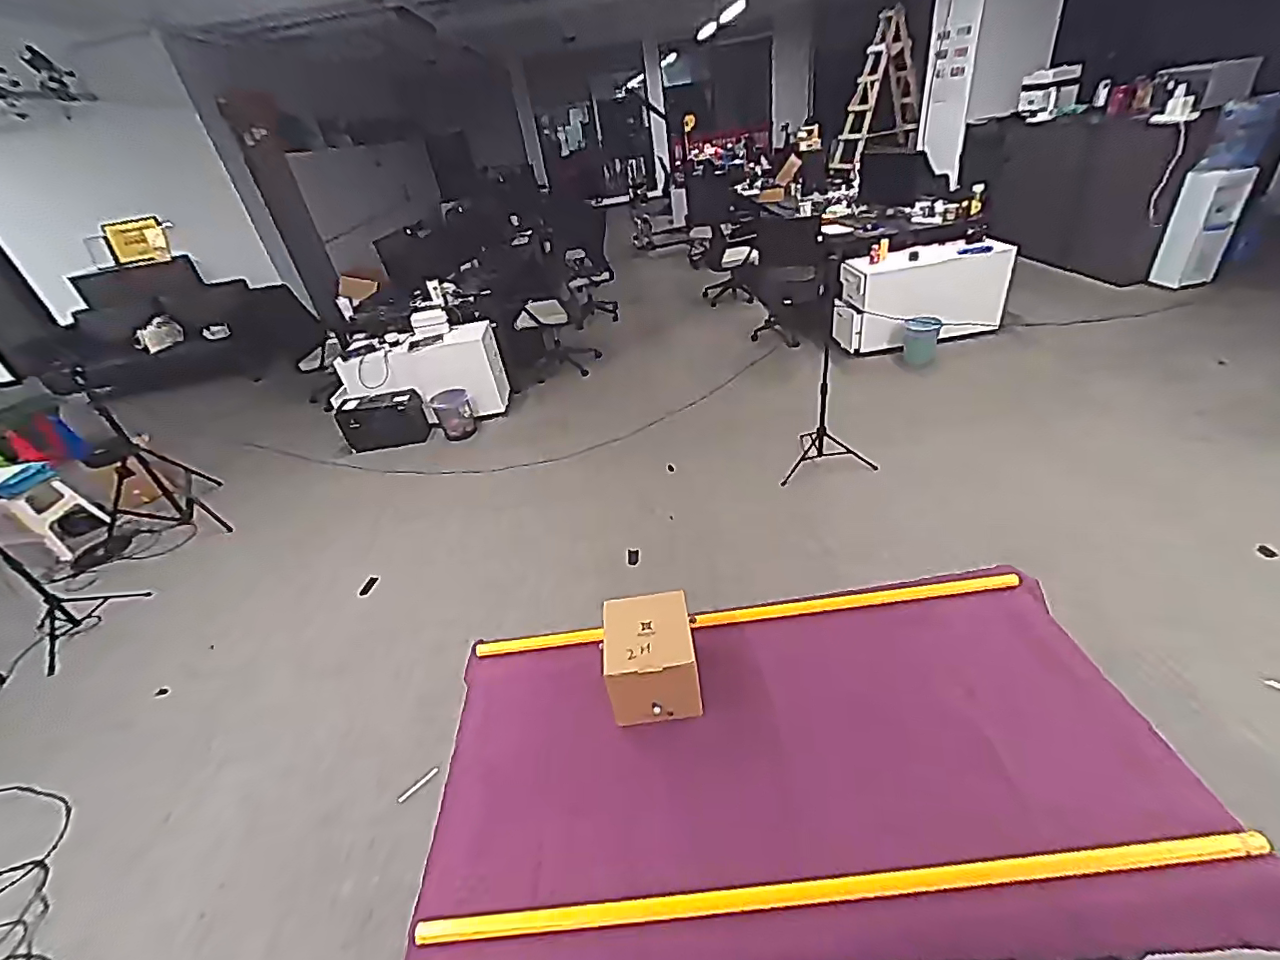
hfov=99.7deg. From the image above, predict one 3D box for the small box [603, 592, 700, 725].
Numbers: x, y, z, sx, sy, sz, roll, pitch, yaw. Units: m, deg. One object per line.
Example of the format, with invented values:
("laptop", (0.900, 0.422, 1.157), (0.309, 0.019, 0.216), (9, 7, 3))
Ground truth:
("small box", (0.021, 0.349, 1.064), (0.168, 0.176, 0.179), (-9, 36, 2))
